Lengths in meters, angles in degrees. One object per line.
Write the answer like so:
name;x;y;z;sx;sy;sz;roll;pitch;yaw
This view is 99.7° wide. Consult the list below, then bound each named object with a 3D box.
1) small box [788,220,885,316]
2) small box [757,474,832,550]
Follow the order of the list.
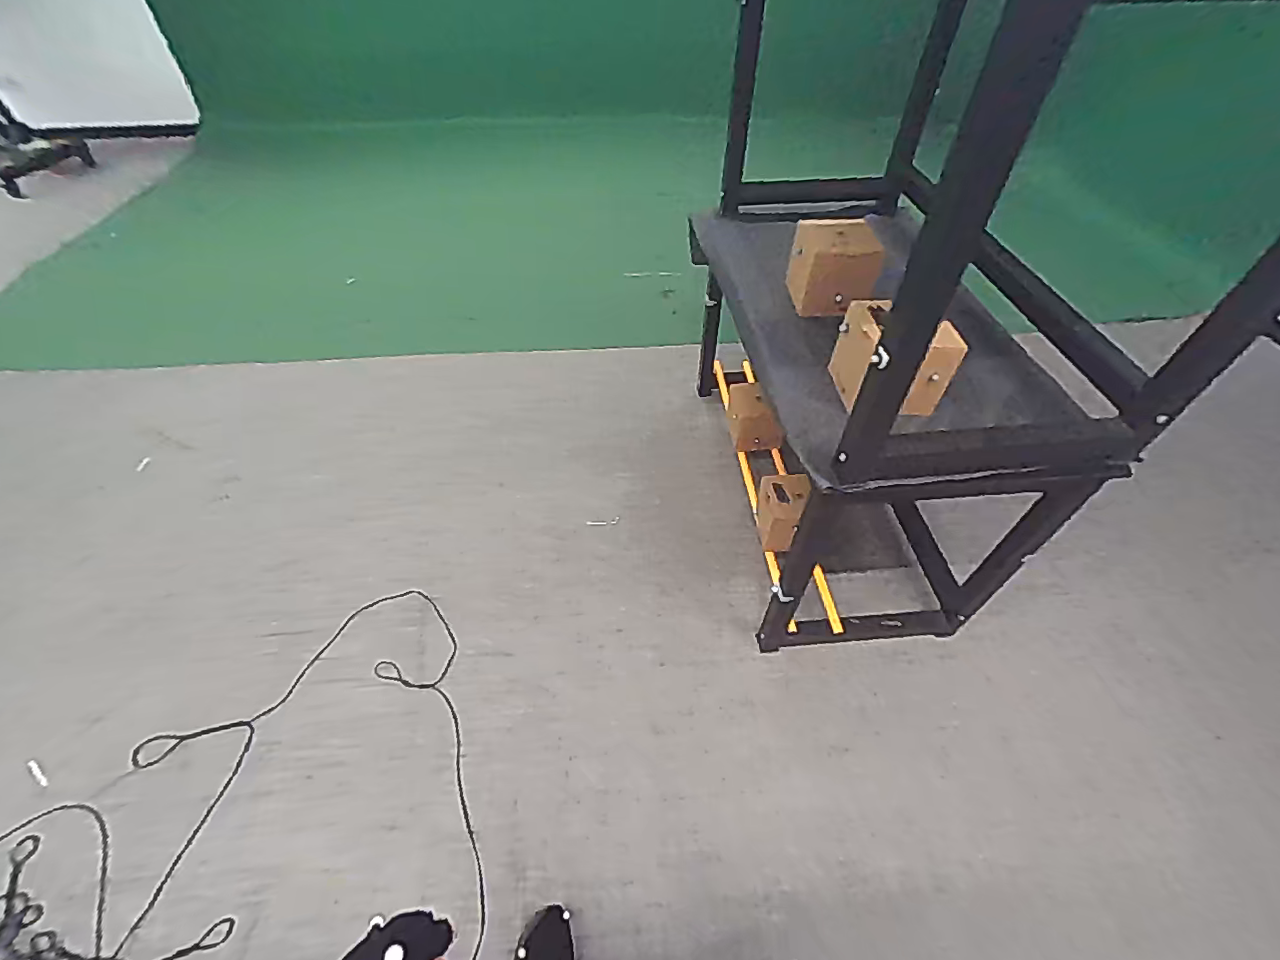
small box;0.479;-0.530;1.353;0.168;0.176;0.179;-1;49;-1
small box;0.456;0.099;1.630;0.179;0.176;0.168;-1;49;-1
